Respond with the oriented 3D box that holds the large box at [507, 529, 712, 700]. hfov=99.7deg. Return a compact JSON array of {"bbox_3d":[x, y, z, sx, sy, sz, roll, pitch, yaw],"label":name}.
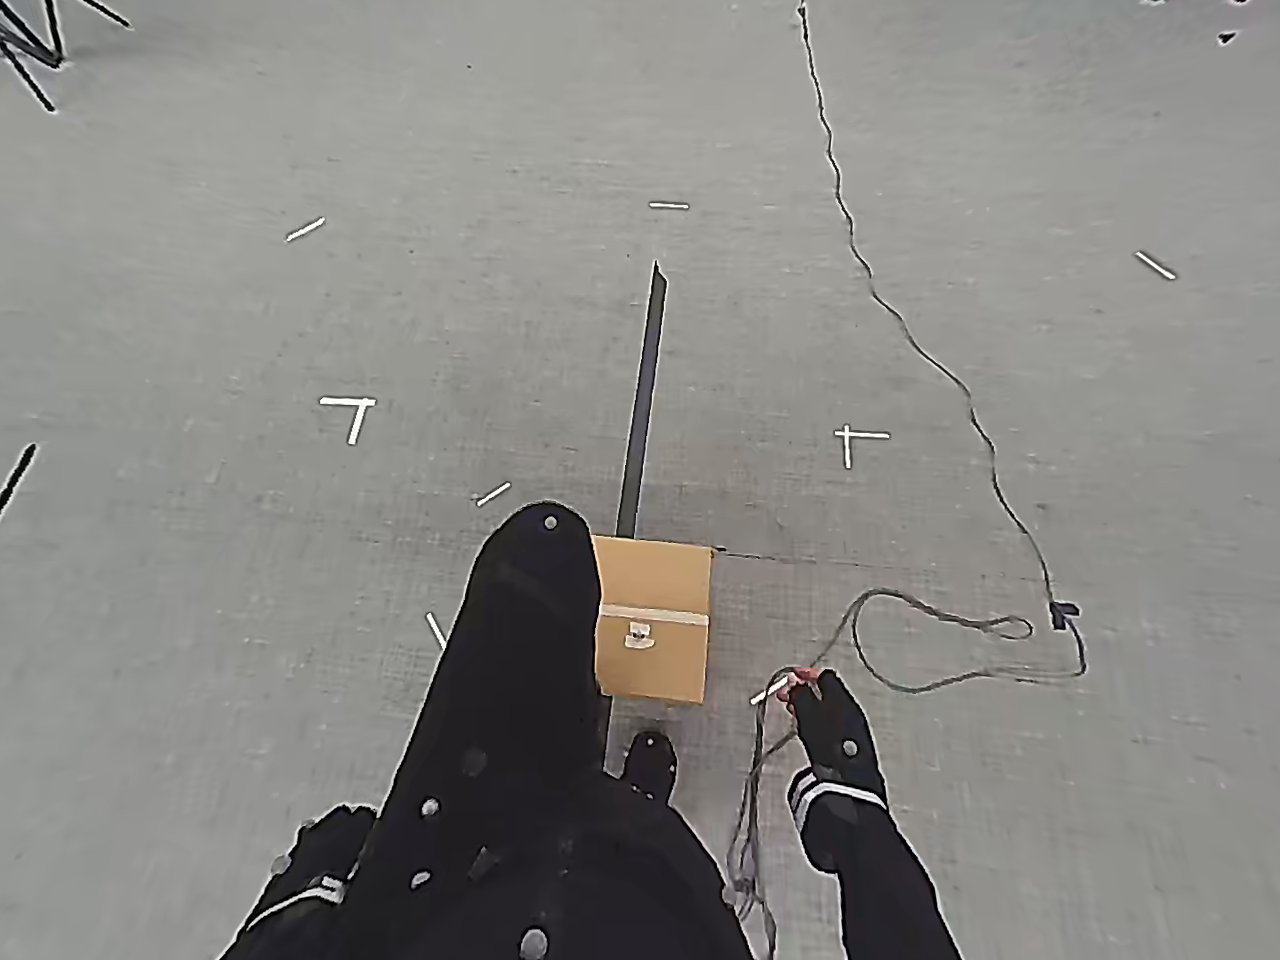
[{"bbox_3d":[-0.053,0.324,1.259,0.408,0.320,0.320,6,67,4],"label":"large box"}]
